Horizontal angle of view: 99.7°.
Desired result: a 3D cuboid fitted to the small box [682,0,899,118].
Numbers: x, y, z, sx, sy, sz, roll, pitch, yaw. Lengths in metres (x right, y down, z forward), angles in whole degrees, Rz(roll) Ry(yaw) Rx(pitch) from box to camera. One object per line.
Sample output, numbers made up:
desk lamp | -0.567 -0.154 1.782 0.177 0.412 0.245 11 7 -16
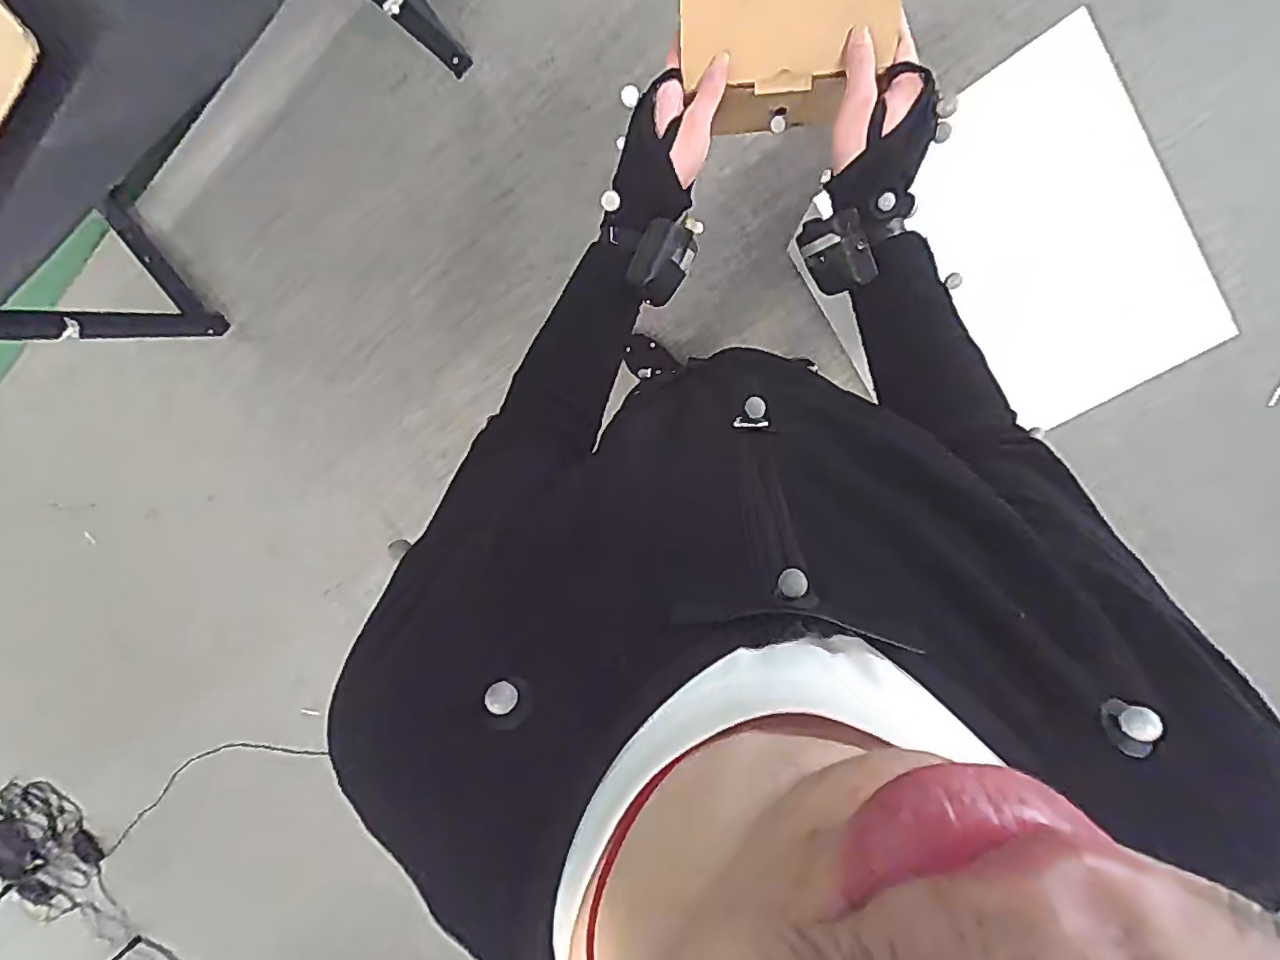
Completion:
small box | 0.128 -0.438 0.472 0.168 0.176 0.179 0 112 13
